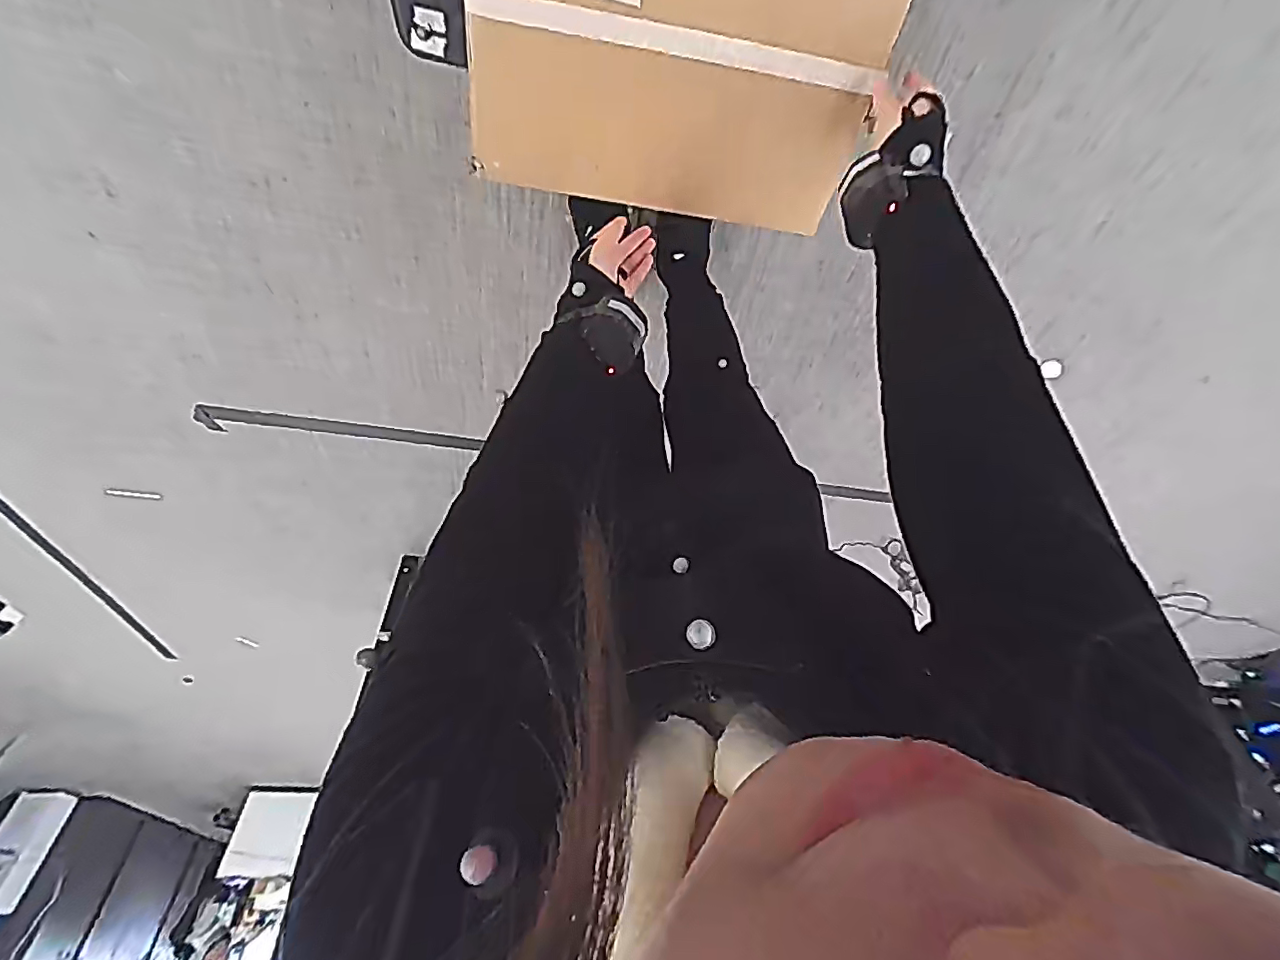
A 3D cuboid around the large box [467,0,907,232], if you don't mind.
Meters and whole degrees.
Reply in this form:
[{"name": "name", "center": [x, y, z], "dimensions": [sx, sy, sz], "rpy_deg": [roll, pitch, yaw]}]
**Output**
[{"name": "large box", "center": [0.040, -0.526, 0.613], "dimensions": [0.408, 0.320, 0.320], "rpy_deg": [7, 137, -7]}]
